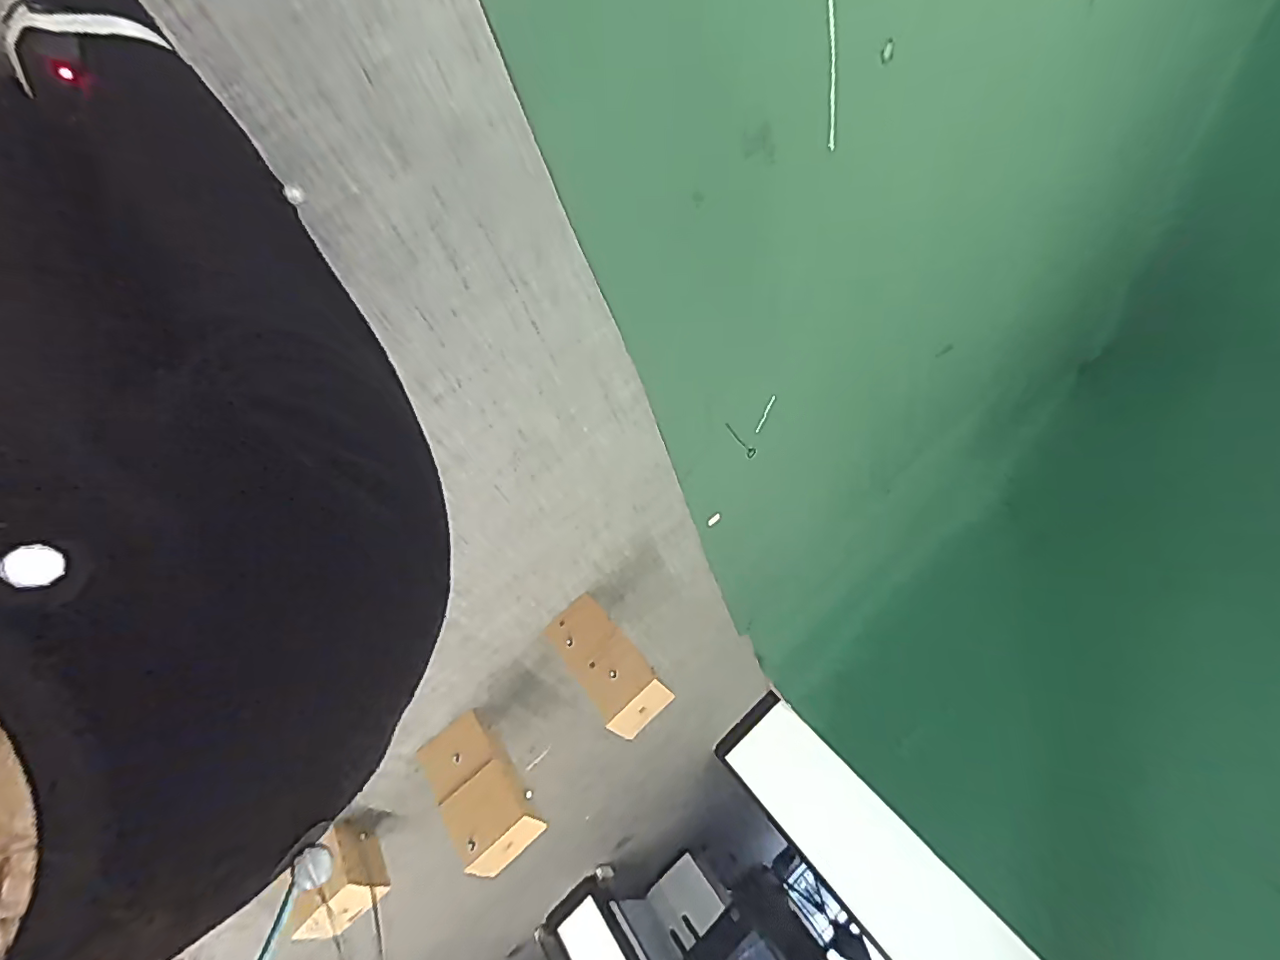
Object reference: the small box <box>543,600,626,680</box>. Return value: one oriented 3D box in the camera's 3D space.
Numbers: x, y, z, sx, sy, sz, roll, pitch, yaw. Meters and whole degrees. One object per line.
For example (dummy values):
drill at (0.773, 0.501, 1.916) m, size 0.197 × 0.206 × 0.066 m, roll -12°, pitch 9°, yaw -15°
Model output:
small box at (-0.145, 0.464, 1.521) m, size 0.168 × 0.176 × 0.179 m, roll -40°, pitch 141°, yaw -10°

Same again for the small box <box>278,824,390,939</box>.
small box at (-0.783, 1.018, 1.378) m, size 0.168 × 0.176 × 0.179 m, roll -38°, pitch 139°, yaw -13°

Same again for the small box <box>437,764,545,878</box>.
small box at (-0.376, 0.855, 1.364) m, size 0.179 × 0.176 × 0.168 m, roll -37°, pitch 140°, yaw -14°

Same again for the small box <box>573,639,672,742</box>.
small box at (-0.048, 0.546, 1.416) m, size 0.168 × 0.176 × 0.179 m, roll -40°, pitch 141°, yaw -8°
